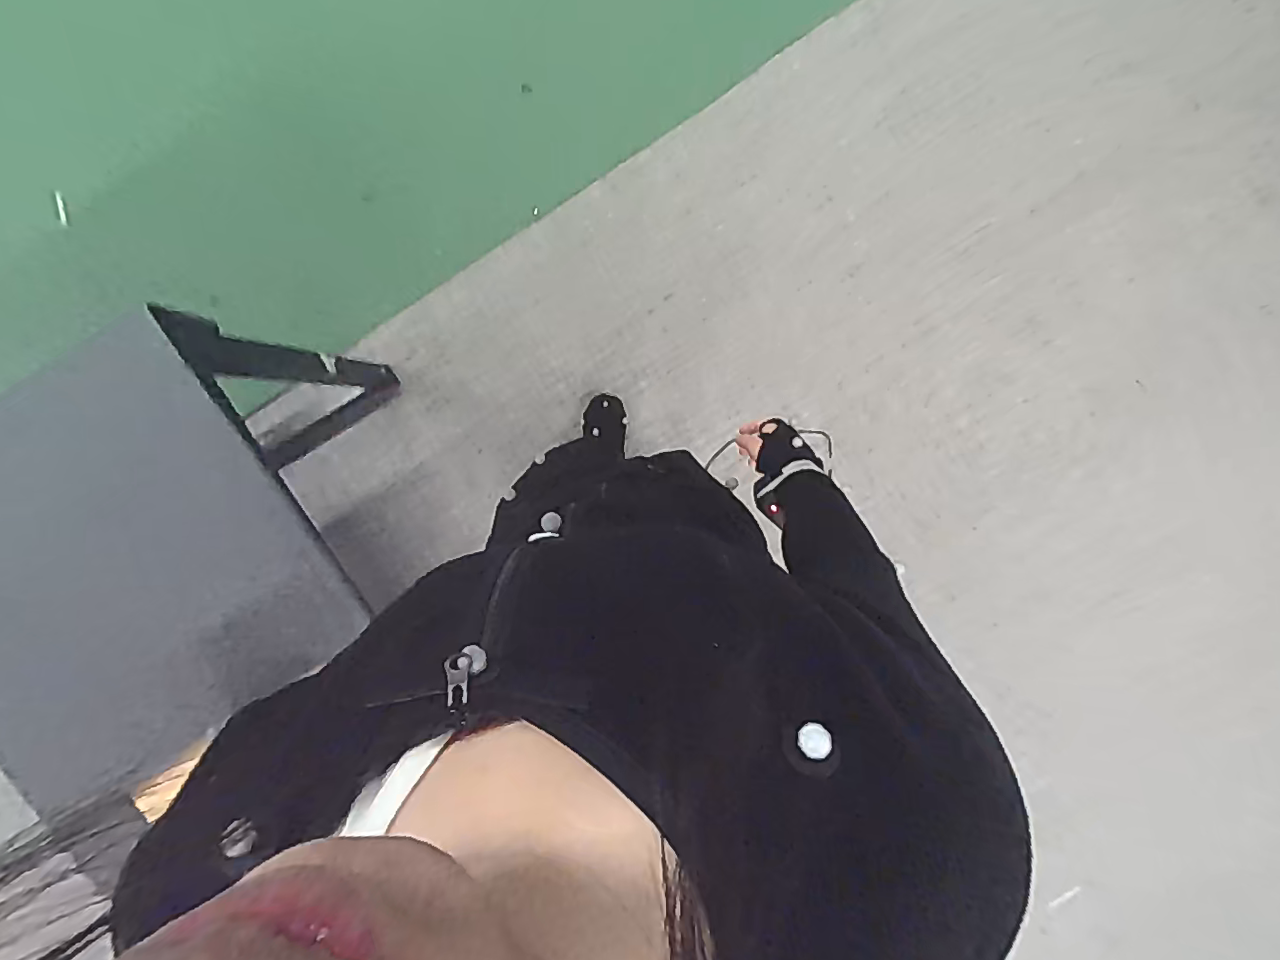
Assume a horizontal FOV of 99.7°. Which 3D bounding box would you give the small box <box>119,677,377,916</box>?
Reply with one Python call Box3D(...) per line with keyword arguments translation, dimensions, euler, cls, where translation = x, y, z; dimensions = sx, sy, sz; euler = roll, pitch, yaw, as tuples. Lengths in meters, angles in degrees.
Box3D(translation=(-0.490, 0.397, 0.708), dimensions=(0.179, 0.176, 0.168), euler=(-30, 96, 1), cls="small box")
